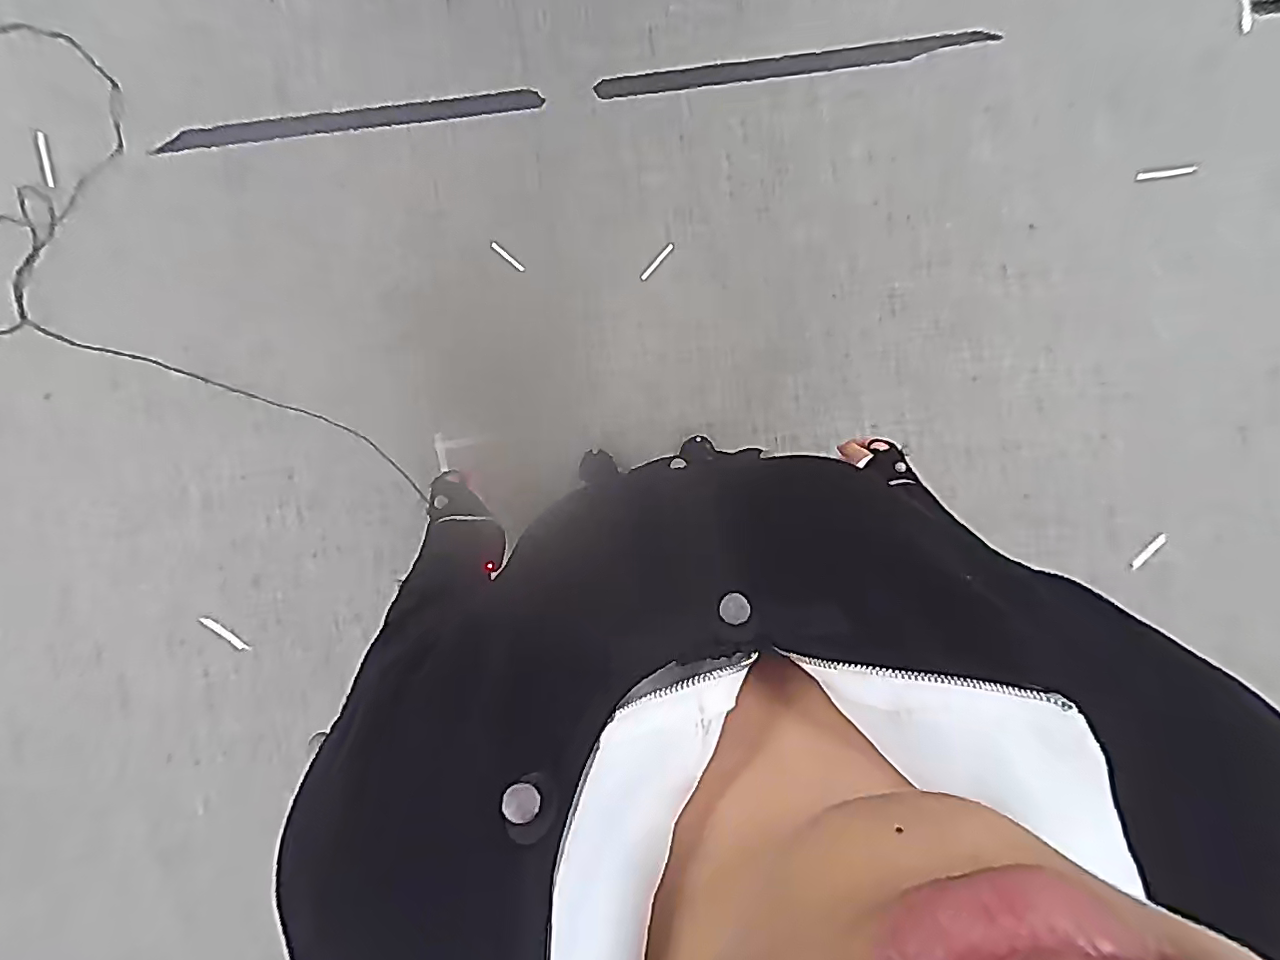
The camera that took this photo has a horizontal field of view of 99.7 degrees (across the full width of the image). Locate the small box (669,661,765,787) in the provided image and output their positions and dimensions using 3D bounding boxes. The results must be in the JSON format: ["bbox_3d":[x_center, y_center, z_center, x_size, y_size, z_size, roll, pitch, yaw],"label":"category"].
[{"bbox_3d":[0.164,0.530,1.192,0.168,0.176,0.179,-13,95,1],"label":"small box"}]

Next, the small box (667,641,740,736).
[{"bbox_3d":[0.160,0.515,1.355,0.168,0.176,0.179,-6,95,1],"label":"small box"}]
